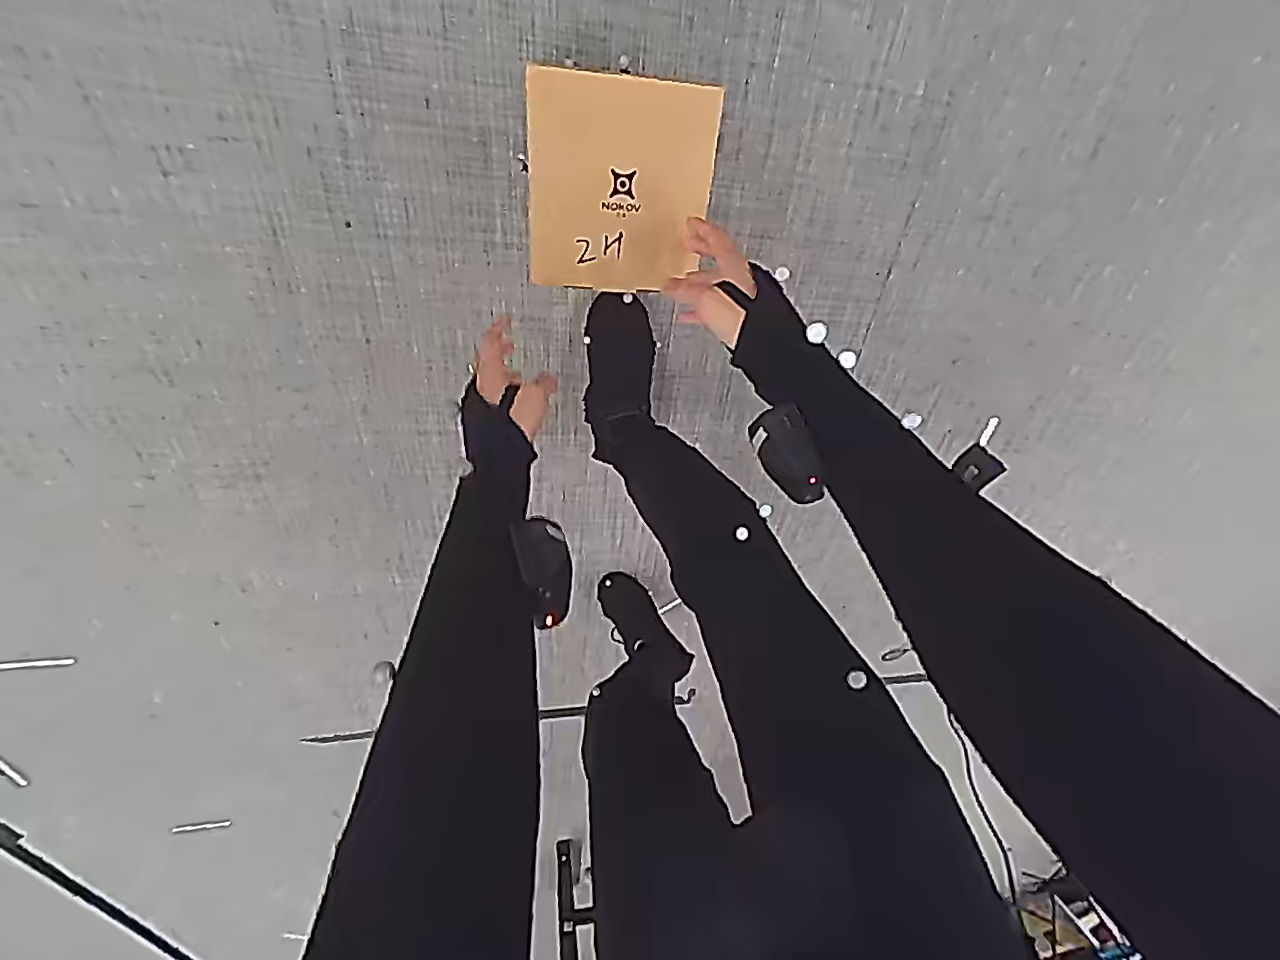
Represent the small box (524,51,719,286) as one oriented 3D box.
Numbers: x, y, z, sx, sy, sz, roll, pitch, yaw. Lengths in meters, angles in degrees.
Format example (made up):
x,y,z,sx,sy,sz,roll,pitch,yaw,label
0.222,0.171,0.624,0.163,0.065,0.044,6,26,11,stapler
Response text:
x,y,z,sx,sy,sz,roll,pitch,yaw,label
-0.034,-0.316,0.553,0.168,0.176,0.179,0,127,-10,small box
